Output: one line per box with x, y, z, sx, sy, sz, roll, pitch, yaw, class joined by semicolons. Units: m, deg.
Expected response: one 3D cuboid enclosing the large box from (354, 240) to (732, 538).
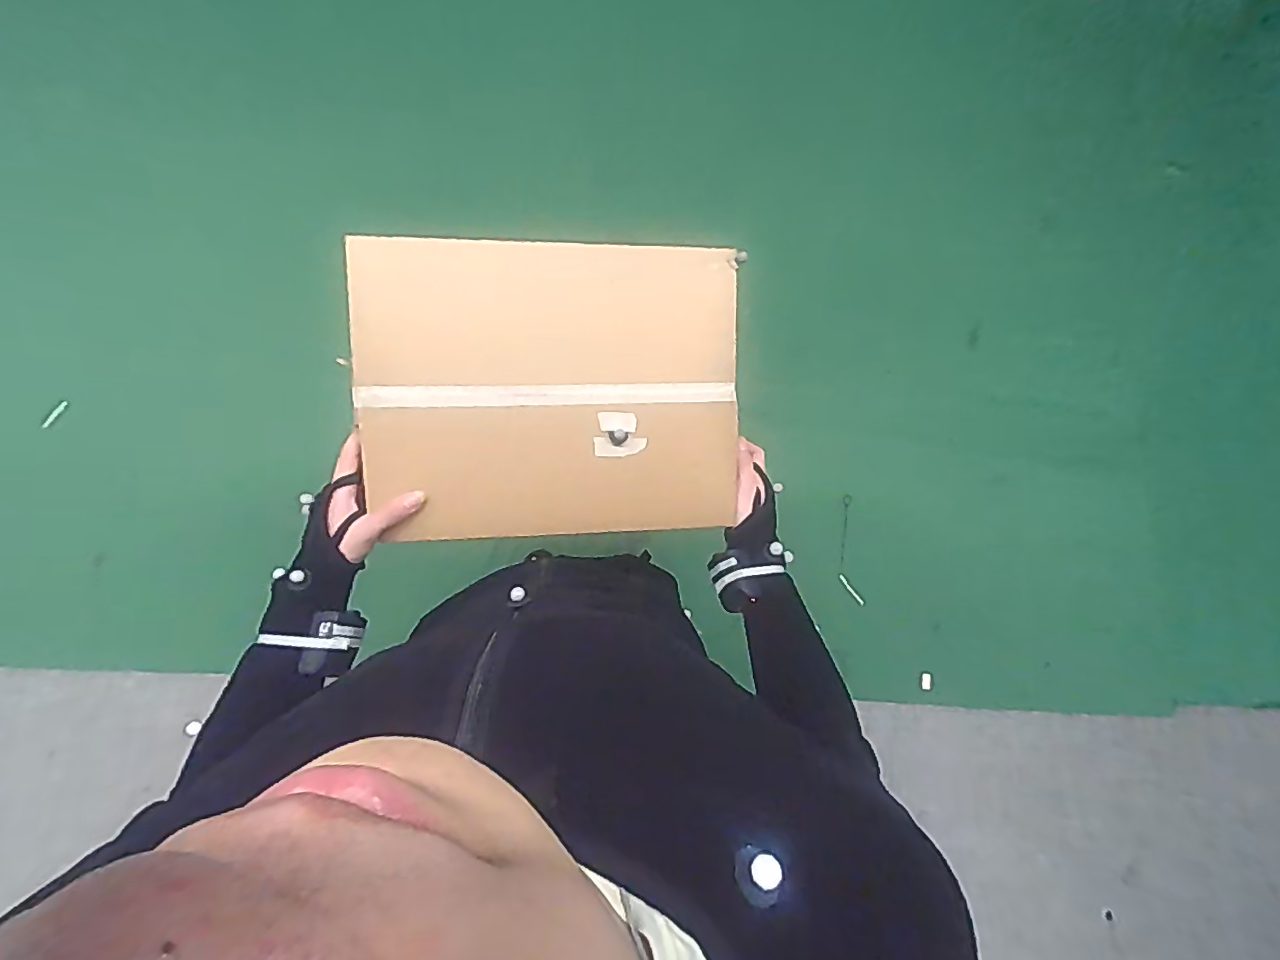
-0.116;-0.115;0.739;0.408;0.320;0.320;-2;98;-9;large box

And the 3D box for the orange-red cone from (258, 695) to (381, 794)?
-0.813;0.676;1.315;0.199;0.360;0.198;12;79;-4;orange-red cone
